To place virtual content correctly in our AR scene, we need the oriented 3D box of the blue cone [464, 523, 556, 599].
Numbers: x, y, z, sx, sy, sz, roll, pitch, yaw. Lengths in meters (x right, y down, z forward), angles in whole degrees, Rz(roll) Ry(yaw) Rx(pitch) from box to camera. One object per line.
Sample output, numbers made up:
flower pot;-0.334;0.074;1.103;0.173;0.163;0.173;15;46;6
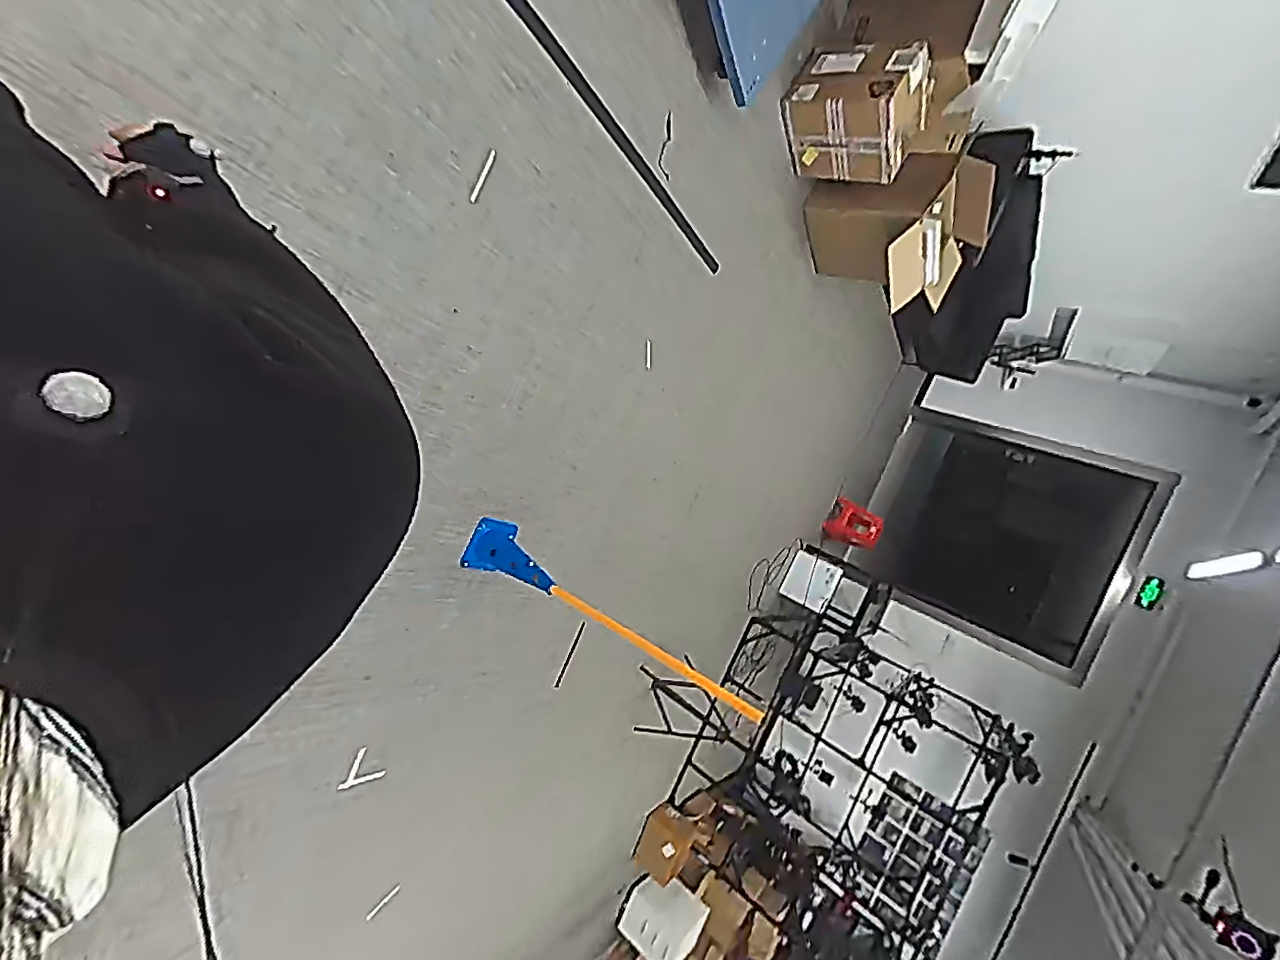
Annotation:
blue cone;-0.433;0.313;1.932;0.193;0.380;0.192;29;87;-56
